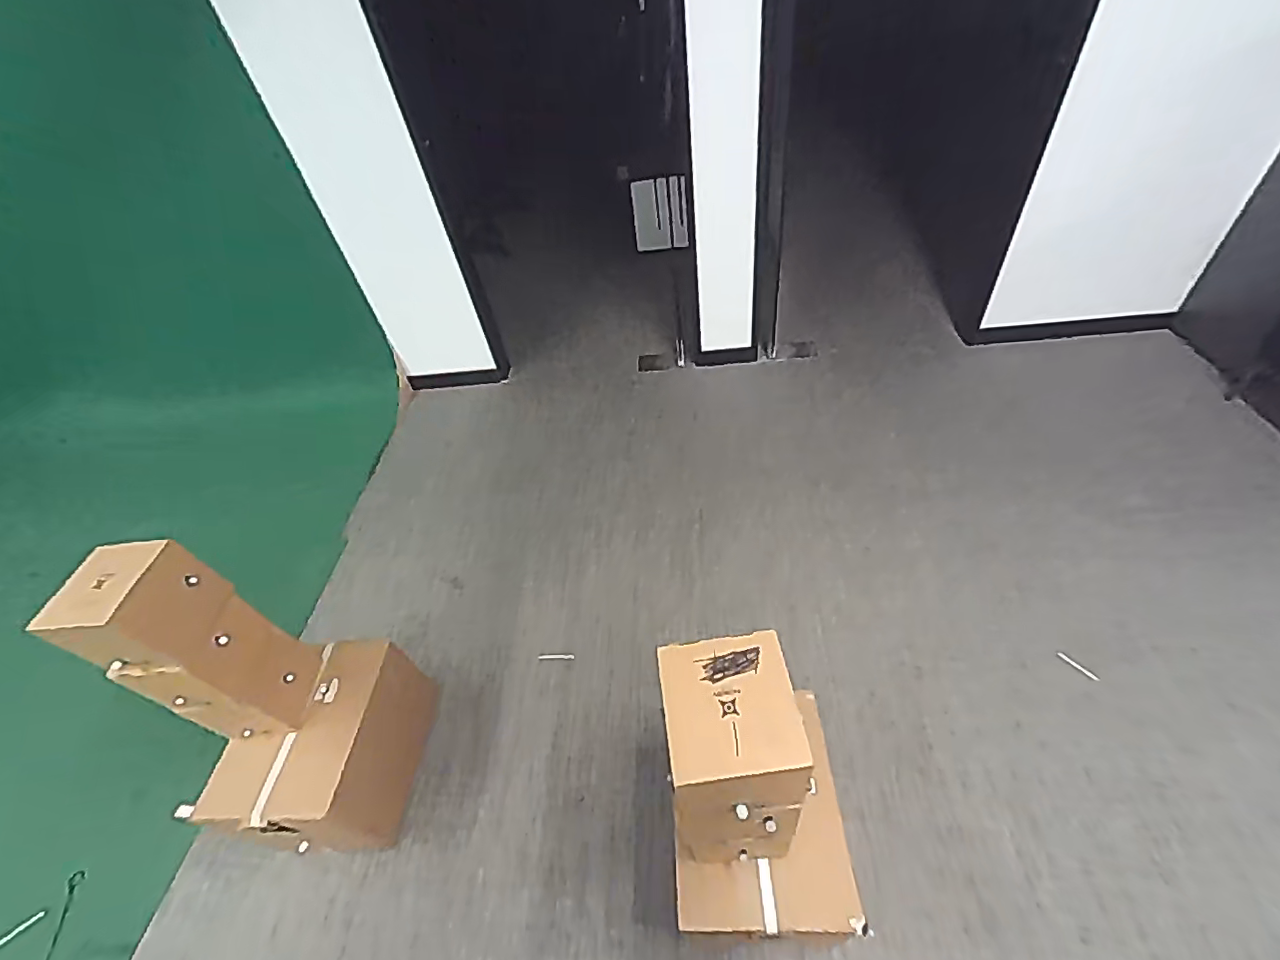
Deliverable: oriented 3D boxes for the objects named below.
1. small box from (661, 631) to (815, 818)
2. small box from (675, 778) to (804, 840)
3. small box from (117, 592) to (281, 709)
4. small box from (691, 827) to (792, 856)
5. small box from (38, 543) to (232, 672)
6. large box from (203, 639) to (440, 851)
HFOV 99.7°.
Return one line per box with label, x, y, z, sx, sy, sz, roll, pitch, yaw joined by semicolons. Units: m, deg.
small box;0.125;0.333;0.737;0.168;0.176;0.179;-10;46;3
small box;0.147;0.450;0.851;0.179;0.176;0.168;-8;45;5
small box;-0.898;0.357;1.127;0.168;0.176;0.179;-7;47;8
small box;0.172;0.560;0.972;0.168;0.176;0.179;-8;47;5
small box;-0.922;0.241;1.015;0.168;0.176;0.179;-6;47;10
large box;-0.759;0.670;1.370;0.320;0.320;0.408;-5;45;6
